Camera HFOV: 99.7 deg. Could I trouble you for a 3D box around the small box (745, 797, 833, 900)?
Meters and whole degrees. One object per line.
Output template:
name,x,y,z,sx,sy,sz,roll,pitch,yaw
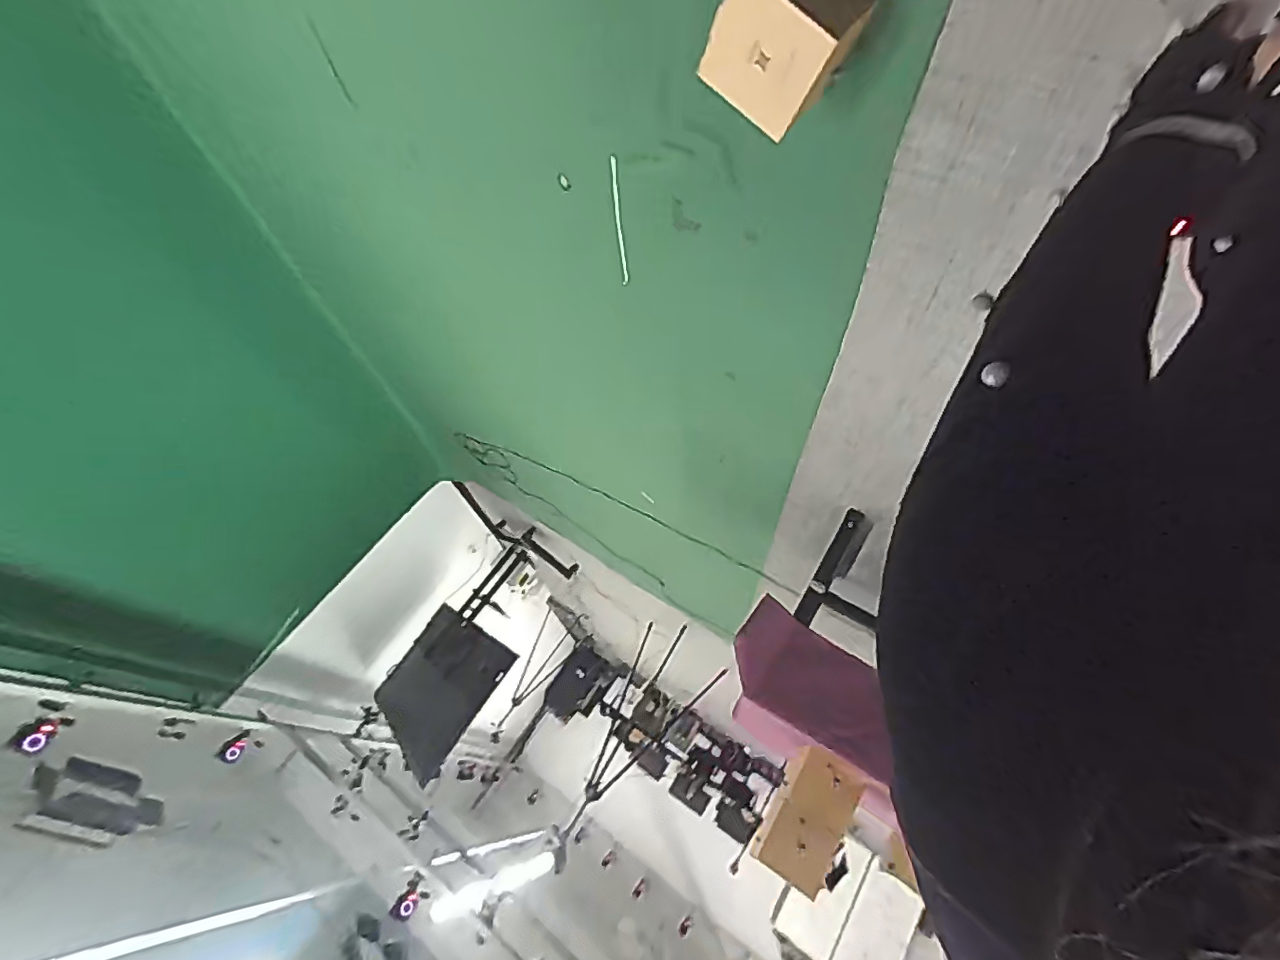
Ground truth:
small box,0.409,1.001,1.485,0.168,0.176,0.179,30,156,19

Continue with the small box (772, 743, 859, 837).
small box,0.502,0.881,1.549,0.168,0.176,0.179,30,156,17

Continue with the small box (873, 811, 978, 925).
small box,0.758,1.020,1.438,0.179,0.176,0.168,29,156,18

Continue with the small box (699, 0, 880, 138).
small box,0.229,-0.692,0.839,0.179,0.176,0.168,39,158,-3
